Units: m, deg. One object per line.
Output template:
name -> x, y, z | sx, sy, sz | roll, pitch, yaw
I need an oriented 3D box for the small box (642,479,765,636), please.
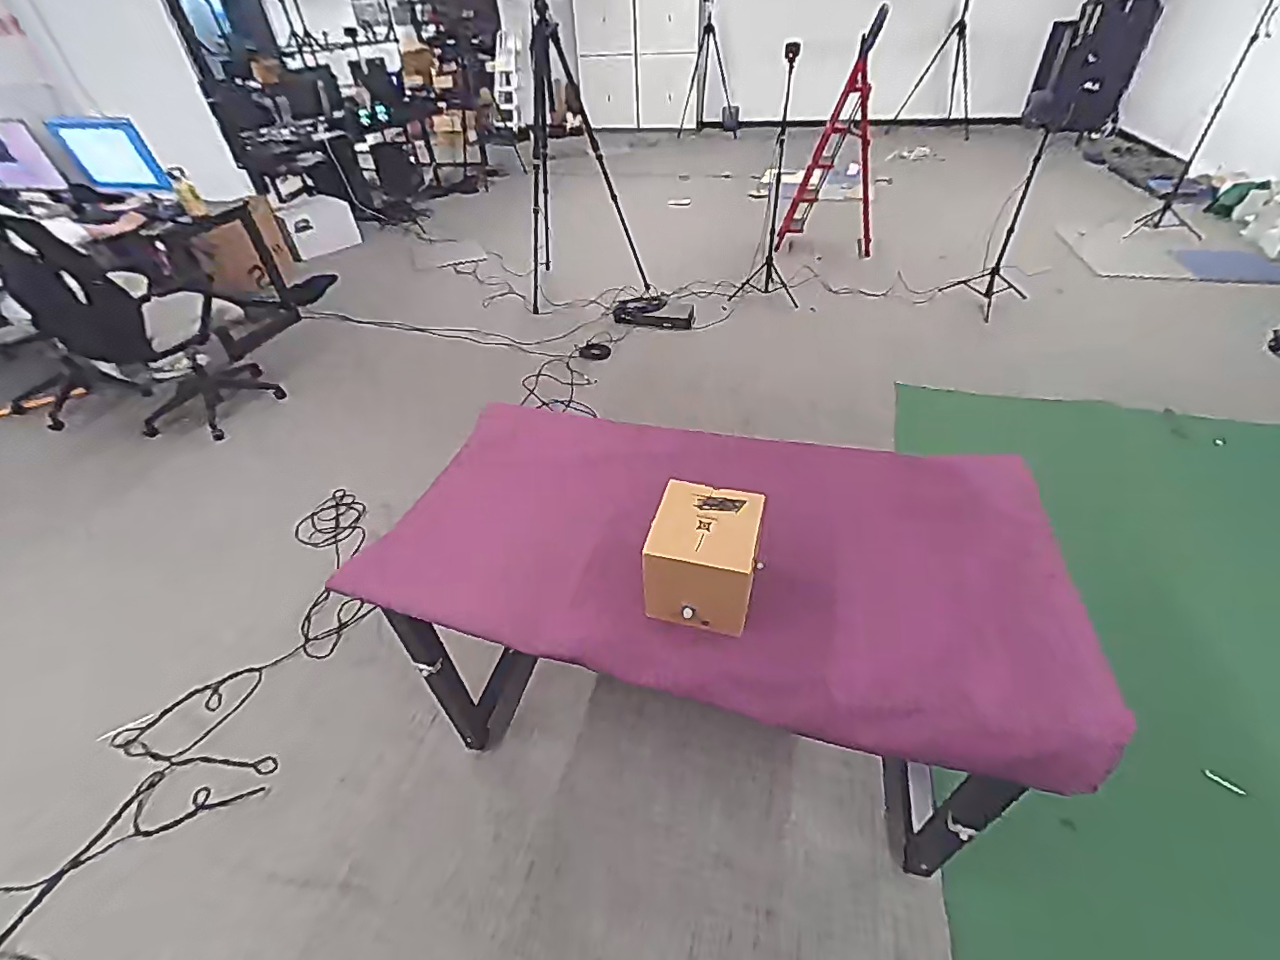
small box -> 0.106, 0.126, 0.900 | 0.168, 0.176, 0.179 | 9, 43, 15
